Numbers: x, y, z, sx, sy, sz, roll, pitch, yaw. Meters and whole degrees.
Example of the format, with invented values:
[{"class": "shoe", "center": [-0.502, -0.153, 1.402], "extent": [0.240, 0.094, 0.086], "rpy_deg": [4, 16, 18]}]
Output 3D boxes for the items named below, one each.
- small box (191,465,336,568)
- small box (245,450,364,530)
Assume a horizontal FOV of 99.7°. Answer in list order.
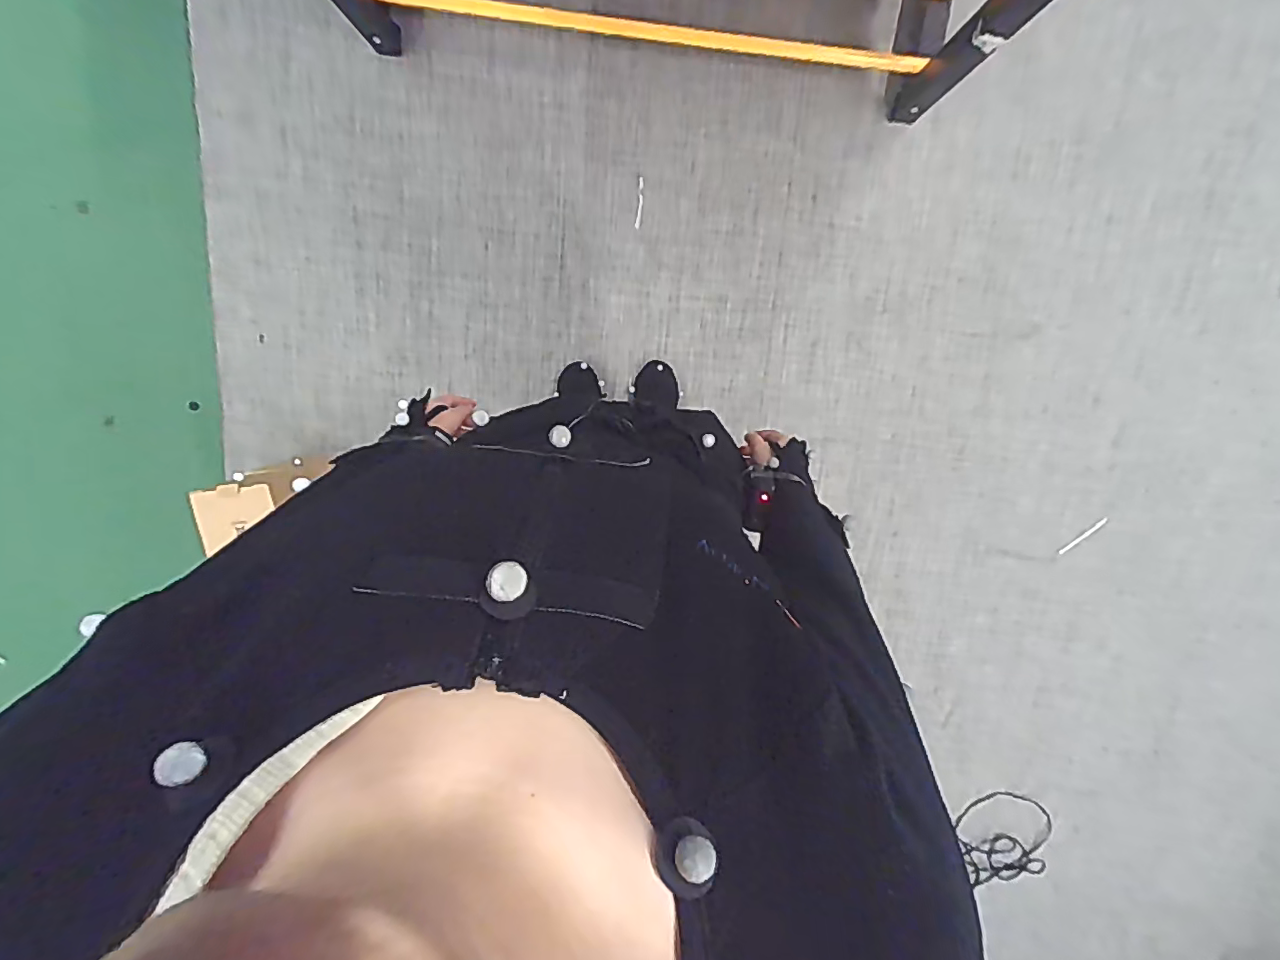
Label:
[{"class": "small box", "center": [-0.784, 0.069, 1.146], "extent": [0.168, 0.176, 0.179], "rpy_deg": [-6, 104, 3]}, {"class": "small box", "center": [-0.793, 0.026, 1.303], "extent": [0.179, 0.176, 0.168], "rpy_deg": [-4, 103, 2]}]
